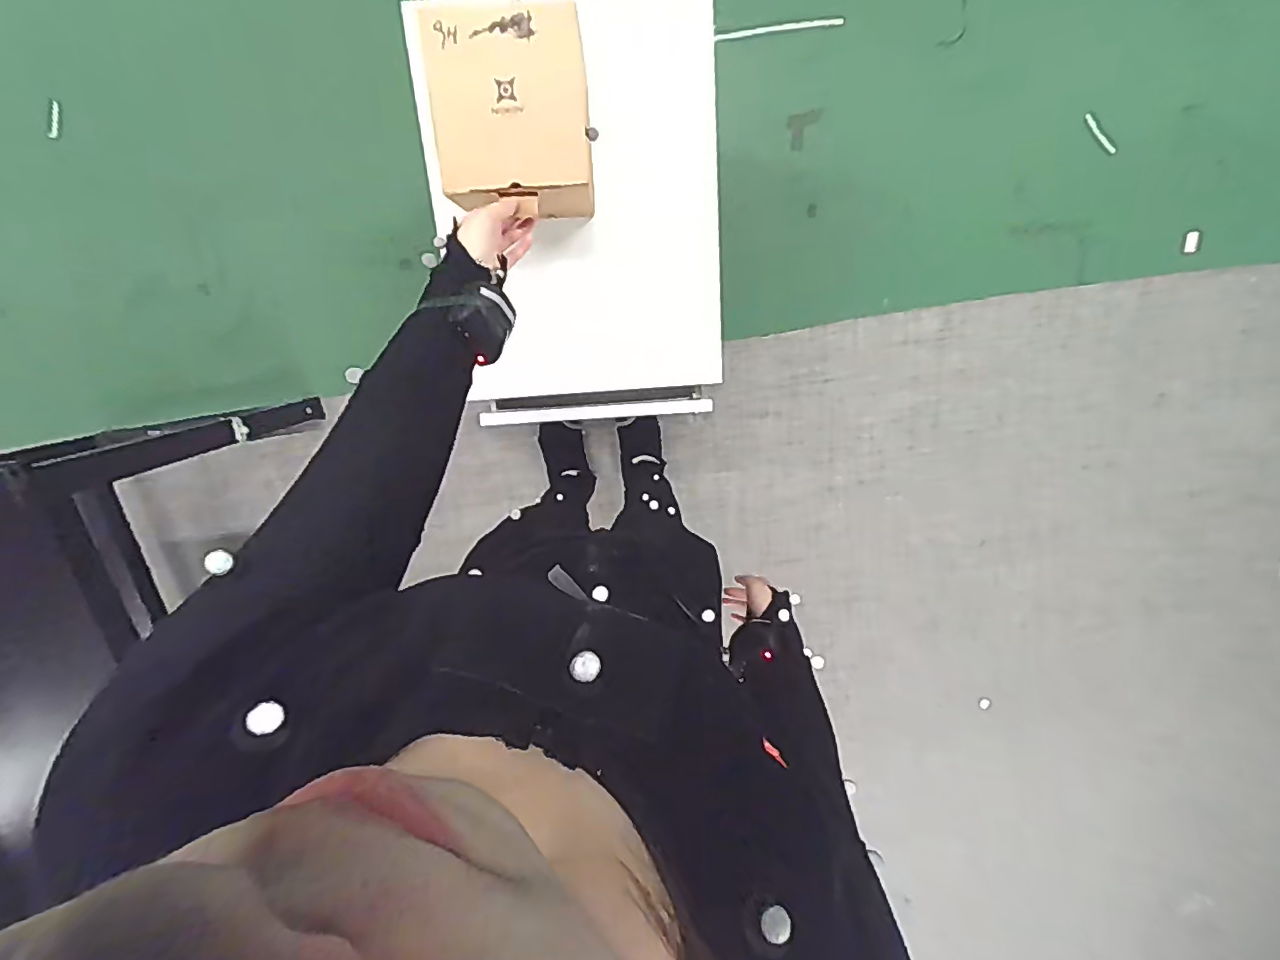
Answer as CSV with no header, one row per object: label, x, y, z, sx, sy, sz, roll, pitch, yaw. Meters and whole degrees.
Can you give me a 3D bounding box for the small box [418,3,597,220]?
small box,-0.141,-0.416,0.643,0.168,0.176,0.179,-4,107,-1
